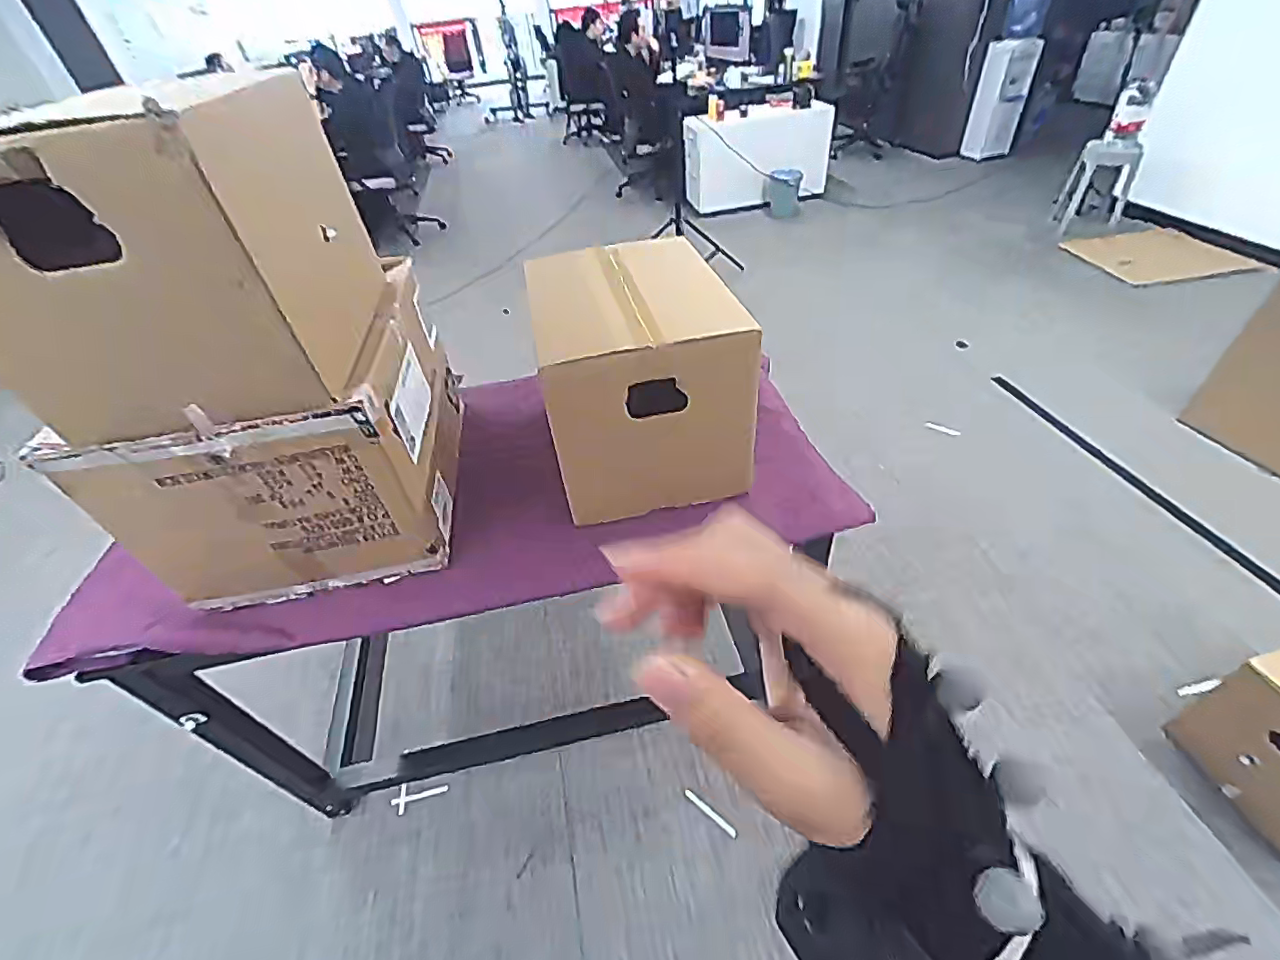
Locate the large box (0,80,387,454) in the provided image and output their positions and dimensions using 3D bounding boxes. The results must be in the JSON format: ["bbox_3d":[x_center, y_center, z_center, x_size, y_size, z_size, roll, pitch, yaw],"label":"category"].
[{"bbox_3d":[-0.565,-0.297,0.709,0.320,0.320,0.408,-13,43,-5],"label":"large box"}]
